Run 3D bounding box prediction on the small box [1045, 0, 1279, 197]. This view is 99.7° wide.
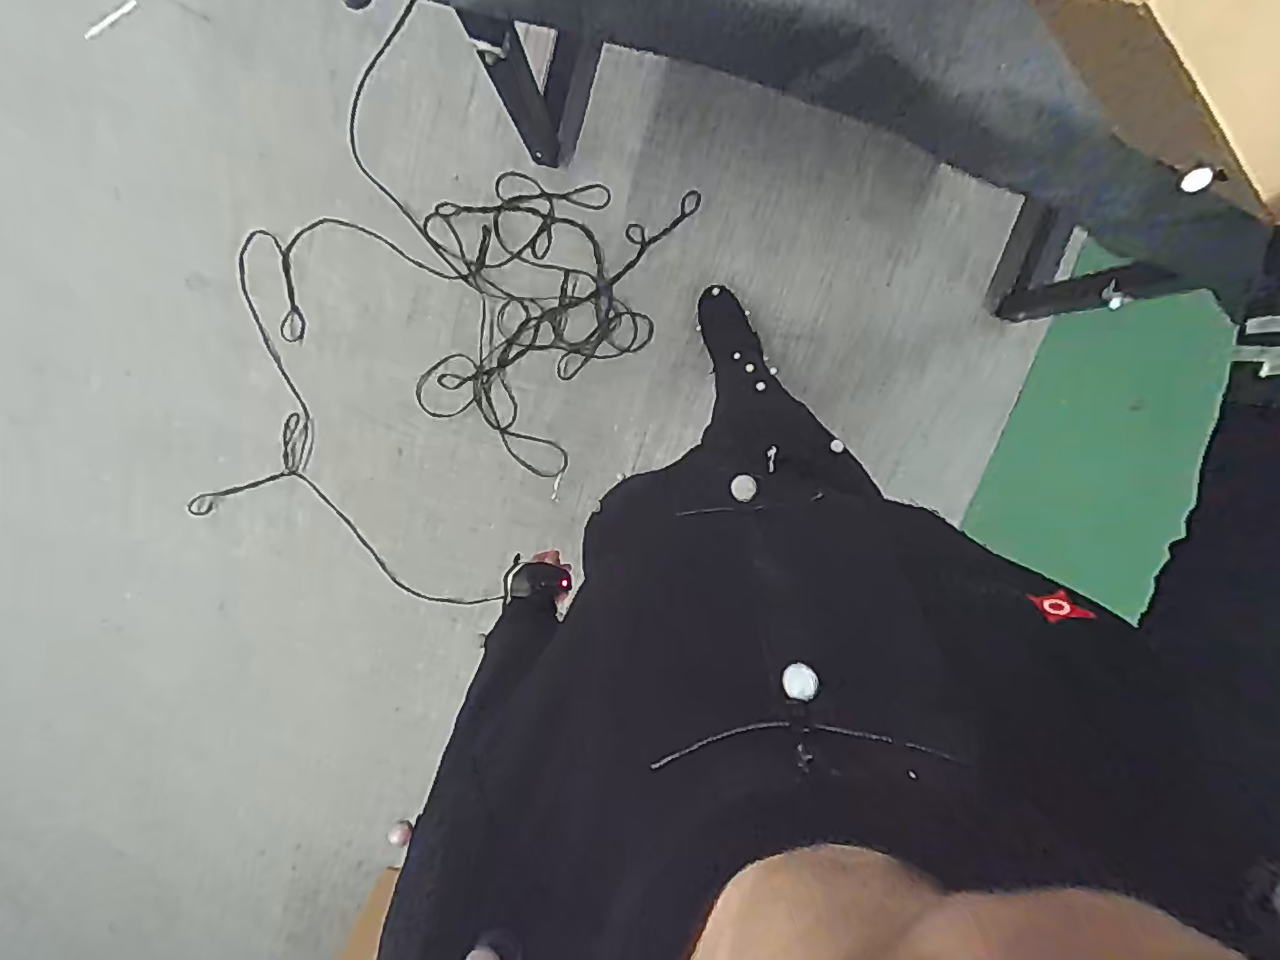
[{"bbox_3d":[0.348,-0.293,0.278,0.179,0.176,0.168,25,134,-23],"label":"small box"}]

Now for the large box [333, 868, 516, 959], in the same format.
[{"bbox_3d":[-0.589,1.333,1.440,0.408,0.320,0.320,17,99,-1],"label":"large box"}]
